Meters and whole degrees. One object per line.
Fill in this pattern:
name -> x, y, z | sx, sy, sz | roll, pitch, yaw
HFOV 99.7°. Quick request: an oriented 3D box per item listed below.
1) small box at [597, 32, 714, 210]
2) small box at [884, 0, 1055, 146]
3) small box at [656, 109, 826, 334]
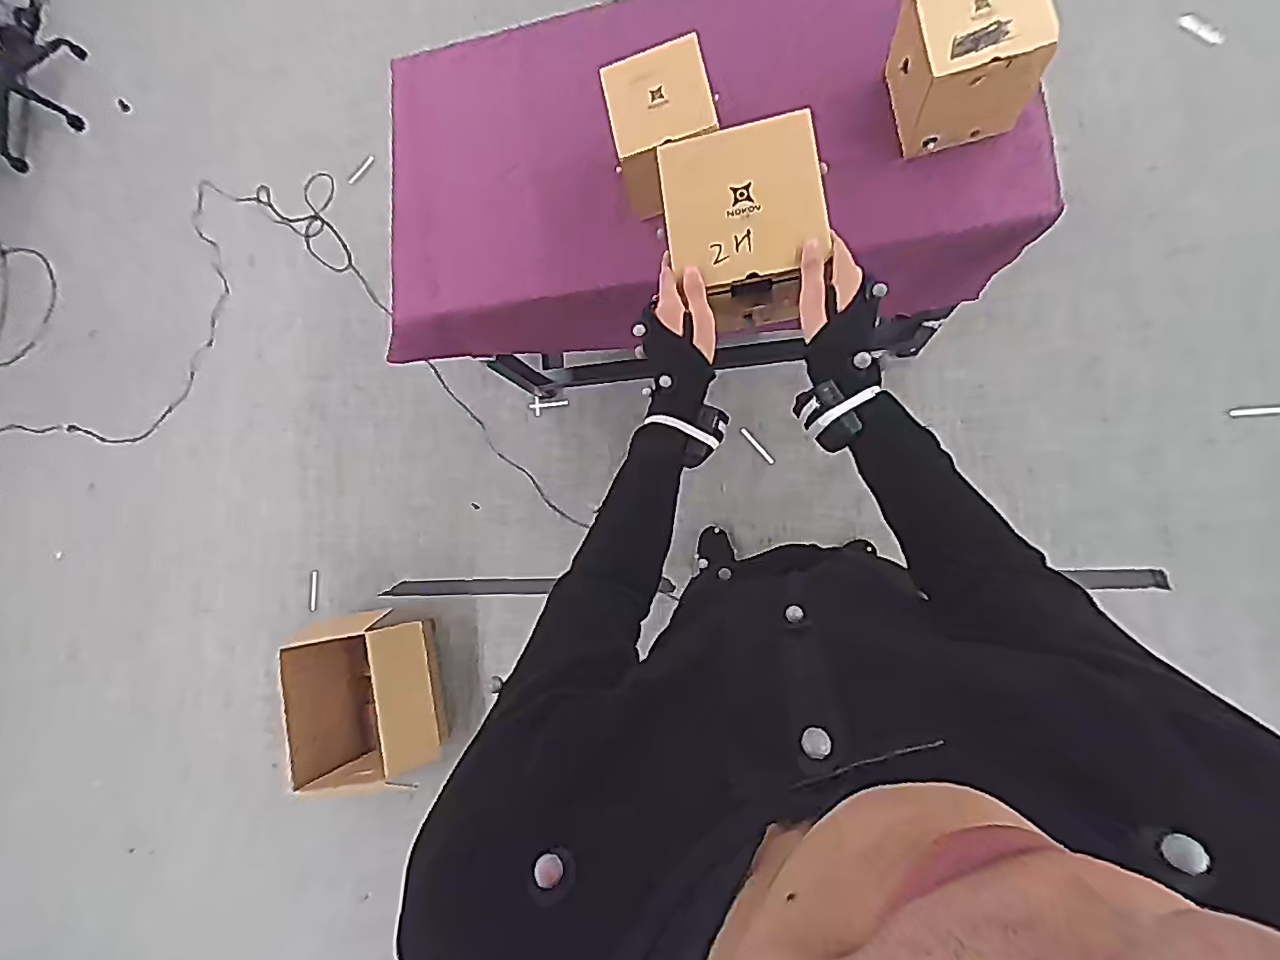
small box -> 0.041, -0.602, 0.937 | 0.168, 0.176, 0.179 | -13, 81, 10
small box -> 0.494, -0.657, 0.839 | 0.168, 0.176, 0.179 | -10, 81, 12
small box -> 0.119, -0.294, 0.654 | 0.168, 0.176, 0.179 | -7, 90, 11
